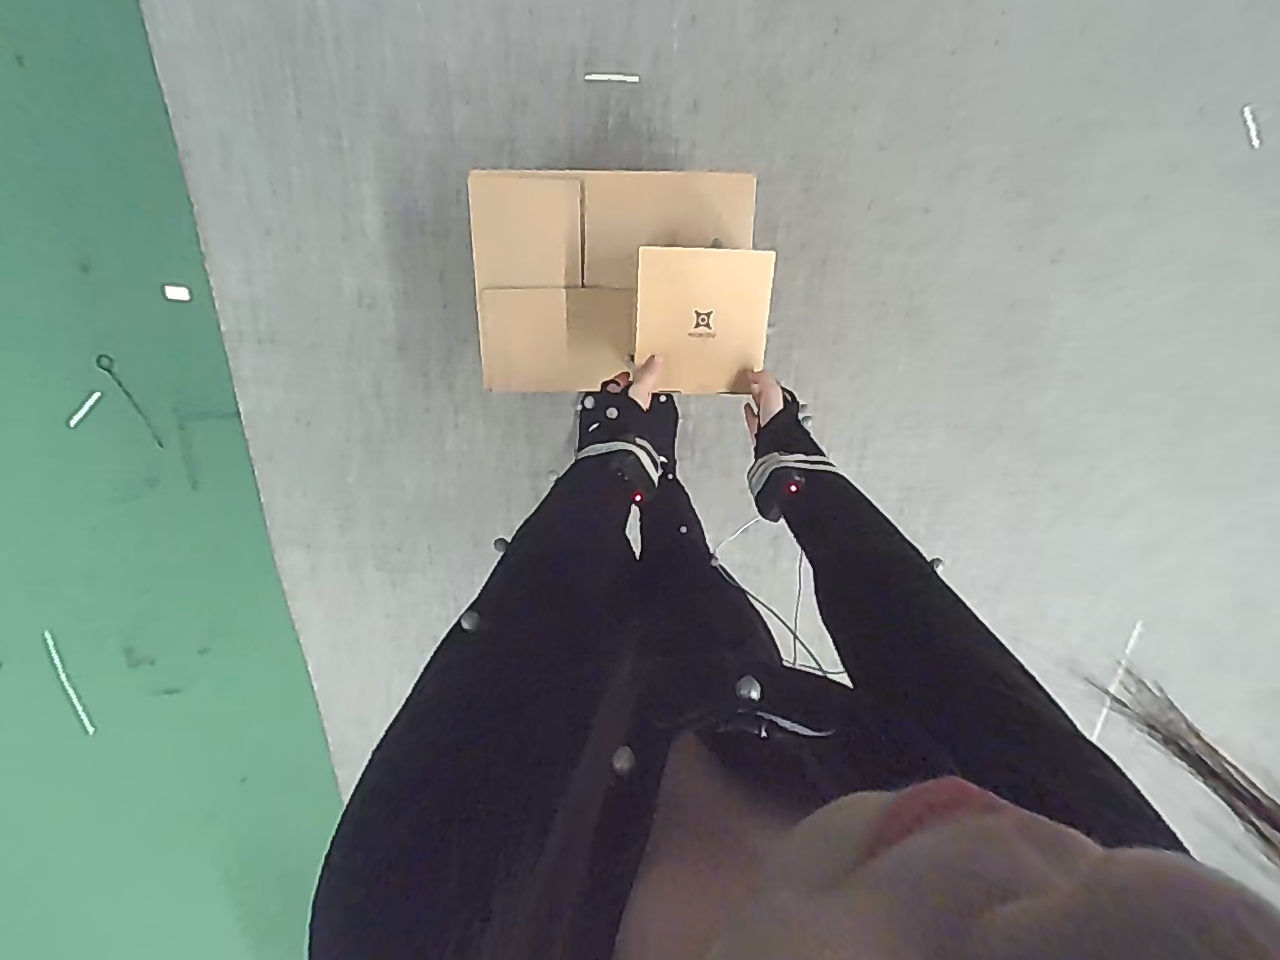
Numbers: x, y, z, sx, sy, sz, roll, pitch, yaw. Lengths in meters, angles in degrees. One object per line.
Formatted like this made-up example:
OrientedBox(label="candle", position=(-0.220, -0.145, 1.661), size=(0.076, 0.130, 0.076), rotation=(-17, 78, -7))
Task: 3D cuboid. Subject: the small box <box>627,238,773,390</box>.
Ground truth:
OrientedBox(label="small box", position=(0.069, -0.229, 0.740), size=(0.168, 0.176, 0.179), rotation=(1, 112, -4))
